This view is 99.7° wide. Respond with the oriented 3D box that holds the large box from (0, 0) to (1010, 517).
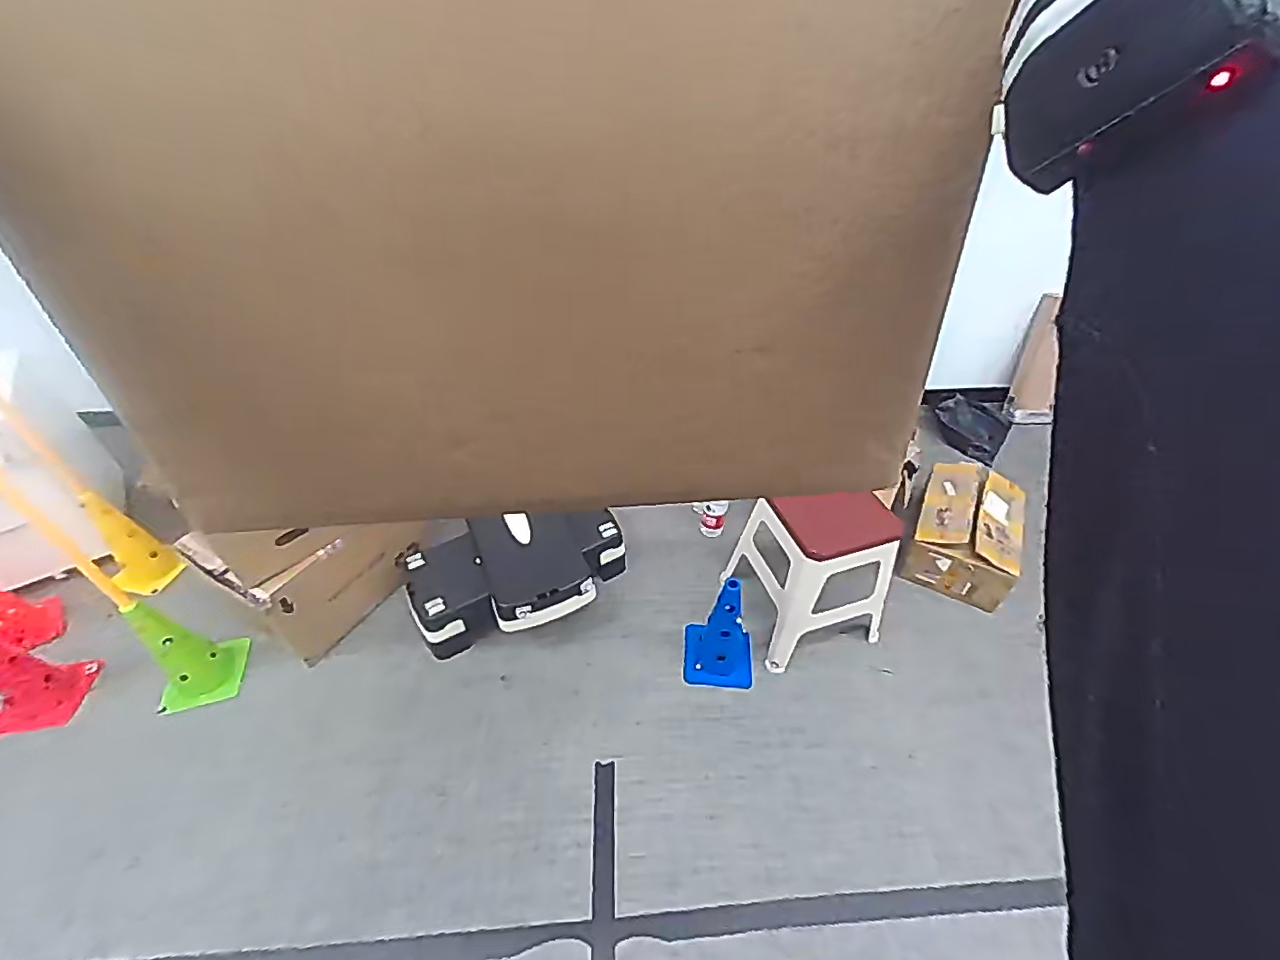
[{"bbox_3d":[-0.062,-0.194,0.359,0.408,0.320,0.320,-3,35,-1],"label":"large box"}]
